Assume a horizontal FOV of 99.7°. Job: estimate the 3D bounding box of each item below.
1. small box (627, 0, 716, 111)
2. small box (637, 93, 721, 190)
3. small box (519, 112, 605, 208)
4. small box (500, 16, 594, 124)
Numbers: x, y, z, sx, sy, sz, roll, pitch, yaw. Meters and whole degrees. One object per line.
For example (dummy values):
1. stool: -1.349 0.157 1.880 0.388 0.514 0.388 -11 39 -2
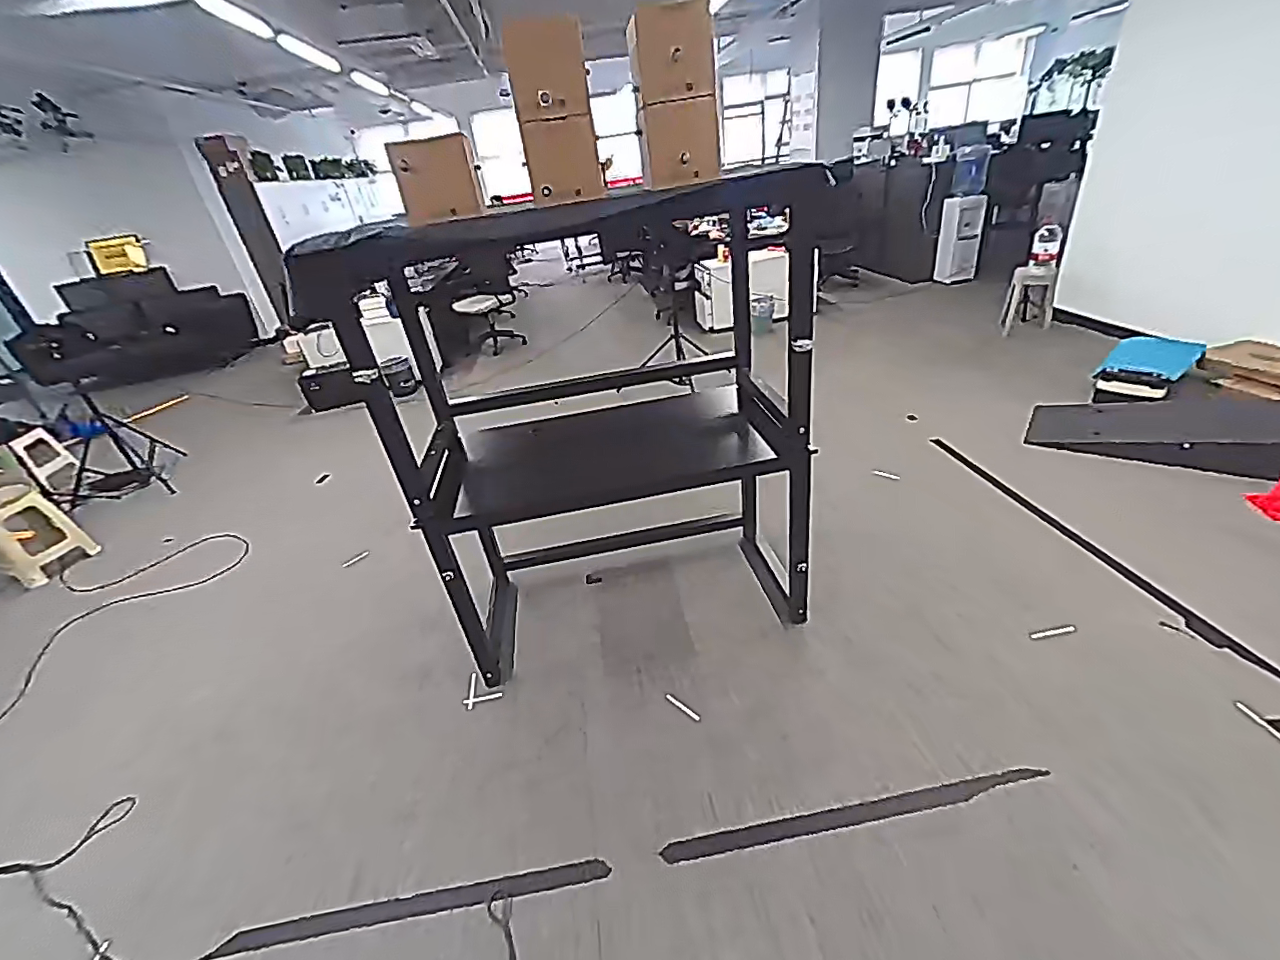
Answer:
1. small box: 0.069 -0.938 1.206 0.168 0.176 0.179 -10 30 -1
2. small box: 0.091 -0.797 1.287 0.168 0.176 0.179 -11 30 -1
3. small box: -0.179 -0.745 1.273 0.168 0.176 0.179 -10 28 -3
4. small box: -0.200 -0.887 1.195 0.168 0.176 0.179 -11 30 -2
